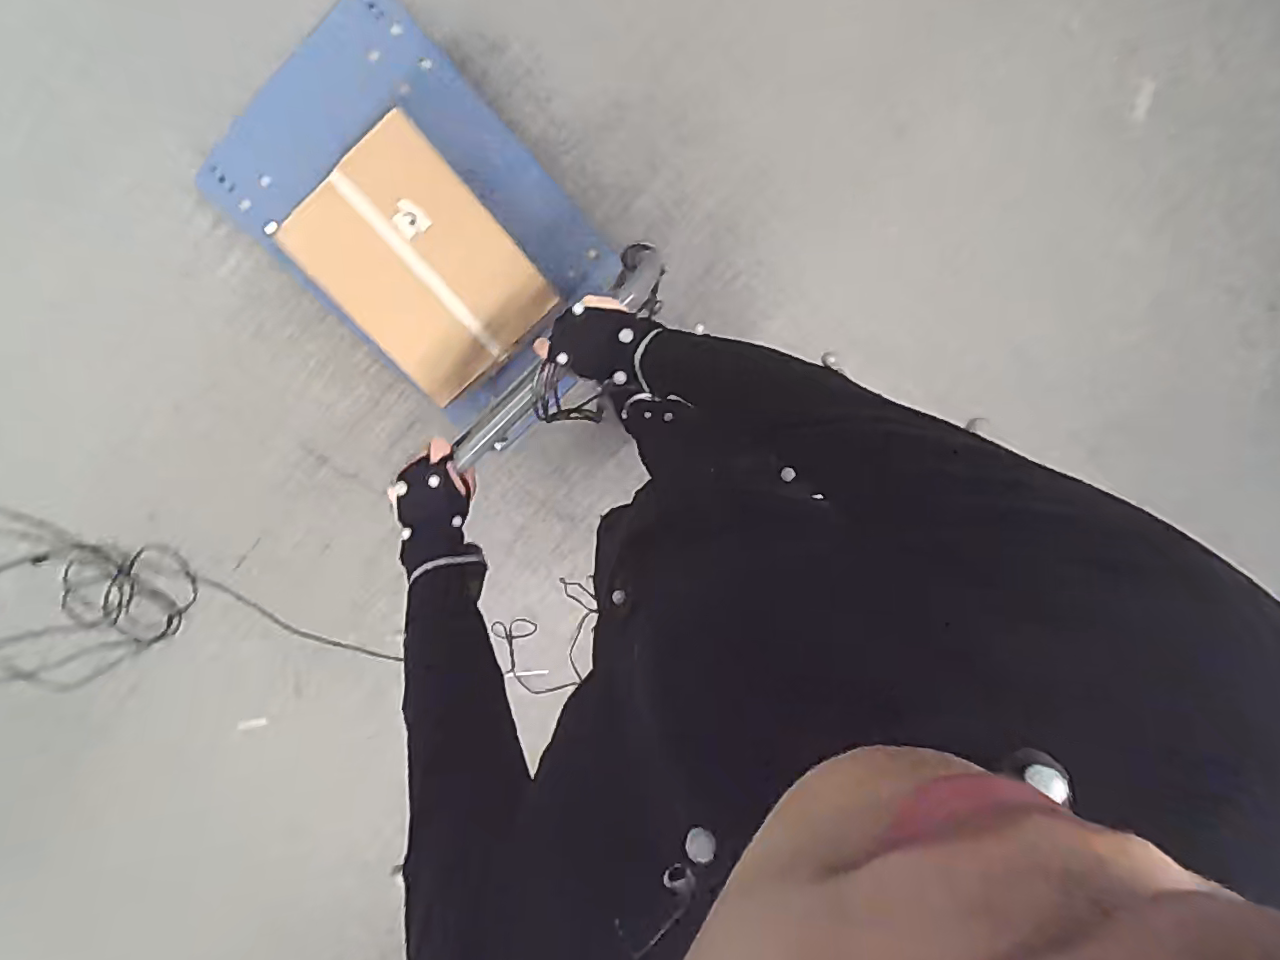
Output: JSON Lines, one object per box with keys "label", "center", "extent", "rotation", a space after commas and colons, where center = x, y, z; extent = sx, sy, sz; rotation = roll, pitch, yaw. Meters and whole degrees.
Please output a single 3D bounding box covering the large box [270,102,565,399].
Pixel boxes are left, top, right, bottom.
{"label": "large box", "center": [-0.404, -0.429, 1.099], "extent": [0.320, 0.320, 0.408], "rotation": [-40, 105, 7]}
